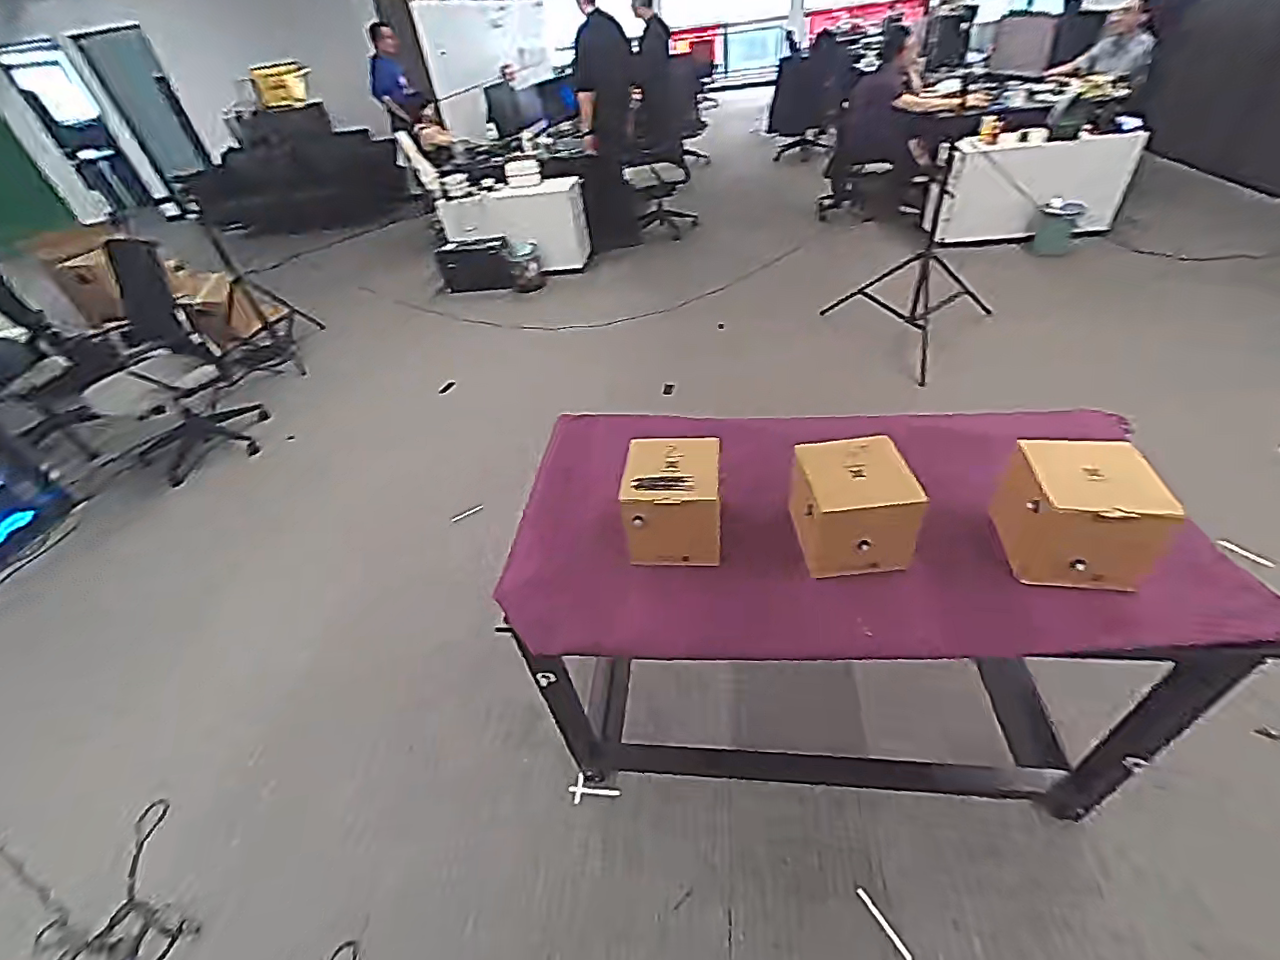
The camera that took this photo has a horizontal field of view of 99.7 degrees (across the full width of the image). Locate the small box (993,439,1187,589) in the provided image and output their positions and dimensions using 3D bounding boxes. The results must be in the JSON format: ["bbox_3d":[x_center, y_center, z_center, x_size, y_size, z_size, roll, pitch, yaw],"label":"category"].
[{"bbox_3d":[0.710,0.052,0.884,0.168,0.176,0.179,2,41,13],"label":"small box"}]

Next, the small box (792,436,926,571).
[{"bbox_3d":[0.372,0.046,0.952,0.168,0.176,0.179,-6,40,3],"label":"small box"}]
